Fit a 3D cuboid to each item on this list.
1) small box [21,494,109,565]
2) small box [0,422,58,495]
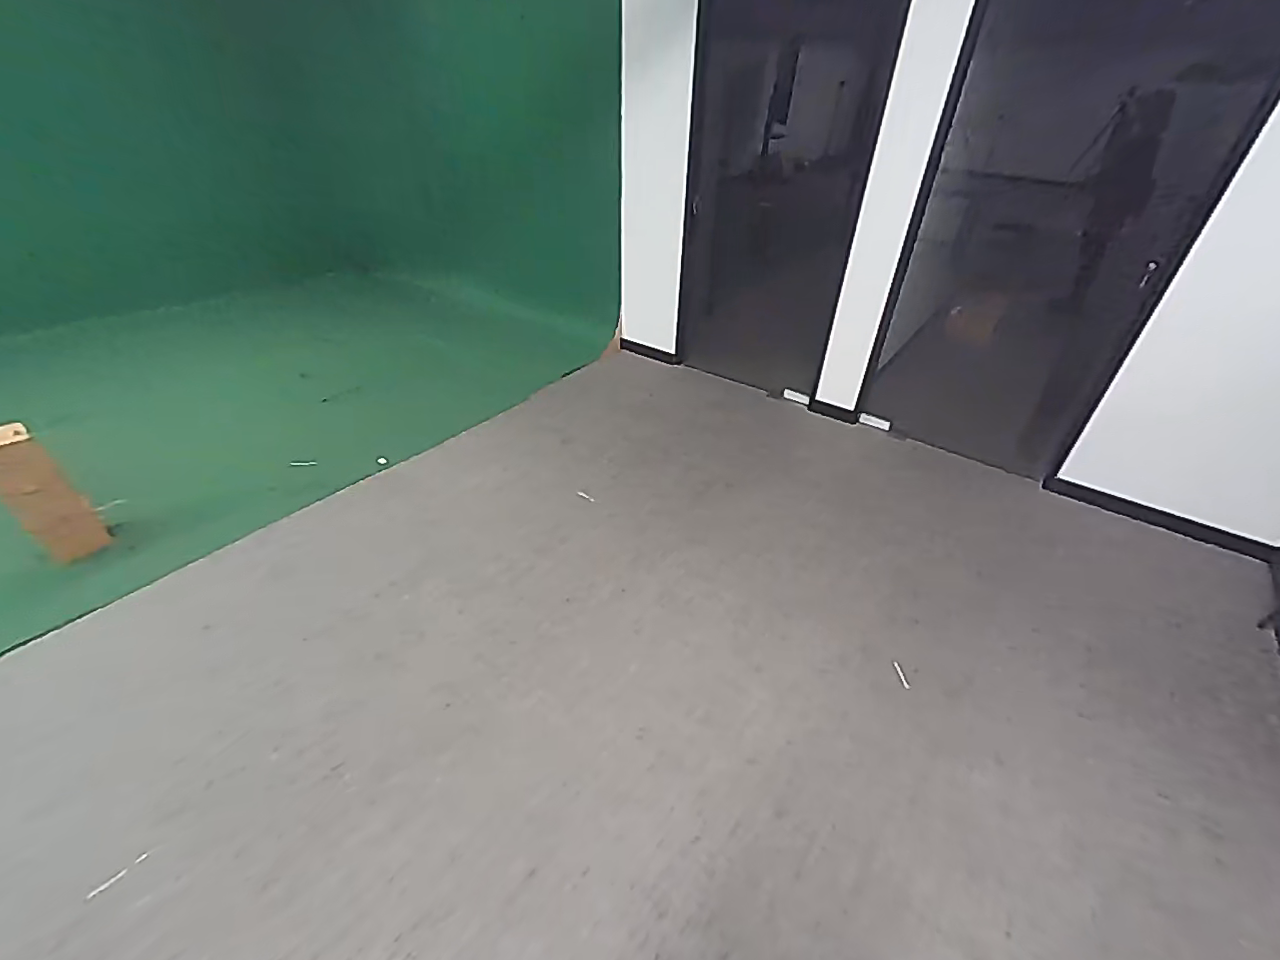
[{"bbox_3d":[-2.184,0.190,2.064,0.168,0.176,0.179,29,44,31],"label":"small box"},{"bbox_3d":[-2.182,-0.070,1.863,0.168,0.176,0.179,27,44,31],"label":"small box"}]
